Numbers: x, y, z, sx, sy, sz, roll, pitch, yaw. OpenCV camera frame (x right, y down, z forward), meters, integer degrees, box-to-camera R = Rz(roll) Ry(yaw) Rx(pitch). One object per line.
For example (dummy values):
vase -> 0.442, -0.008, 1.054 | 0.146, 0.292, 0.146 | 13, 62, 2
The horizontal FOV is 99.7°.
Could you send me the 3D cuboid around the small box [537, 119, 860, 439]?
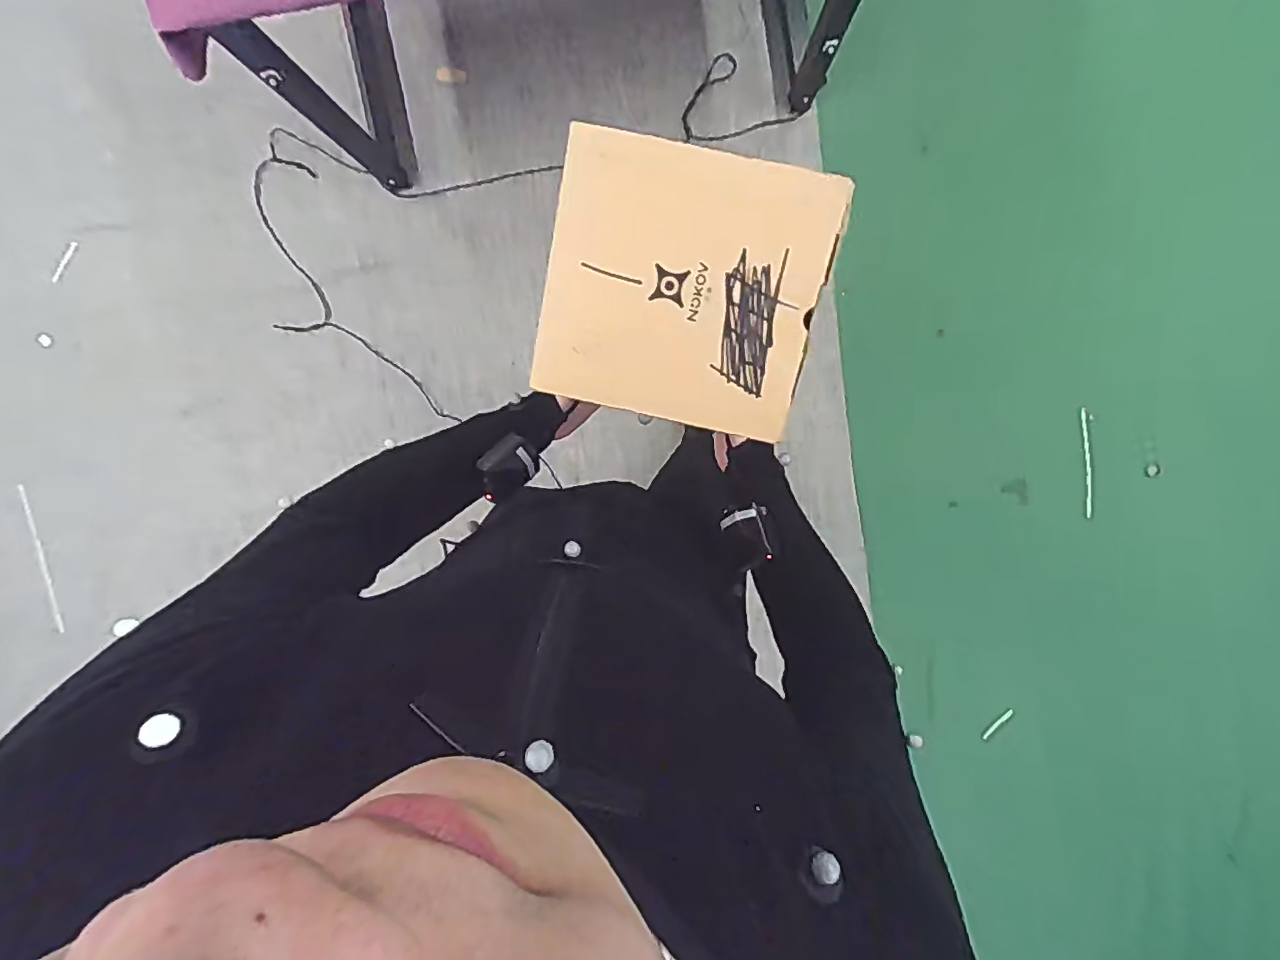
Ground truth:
small box -> 0.036, -0.141, 0.420 | 0.179, 0.176, 0.168 | 12, 104, 0
